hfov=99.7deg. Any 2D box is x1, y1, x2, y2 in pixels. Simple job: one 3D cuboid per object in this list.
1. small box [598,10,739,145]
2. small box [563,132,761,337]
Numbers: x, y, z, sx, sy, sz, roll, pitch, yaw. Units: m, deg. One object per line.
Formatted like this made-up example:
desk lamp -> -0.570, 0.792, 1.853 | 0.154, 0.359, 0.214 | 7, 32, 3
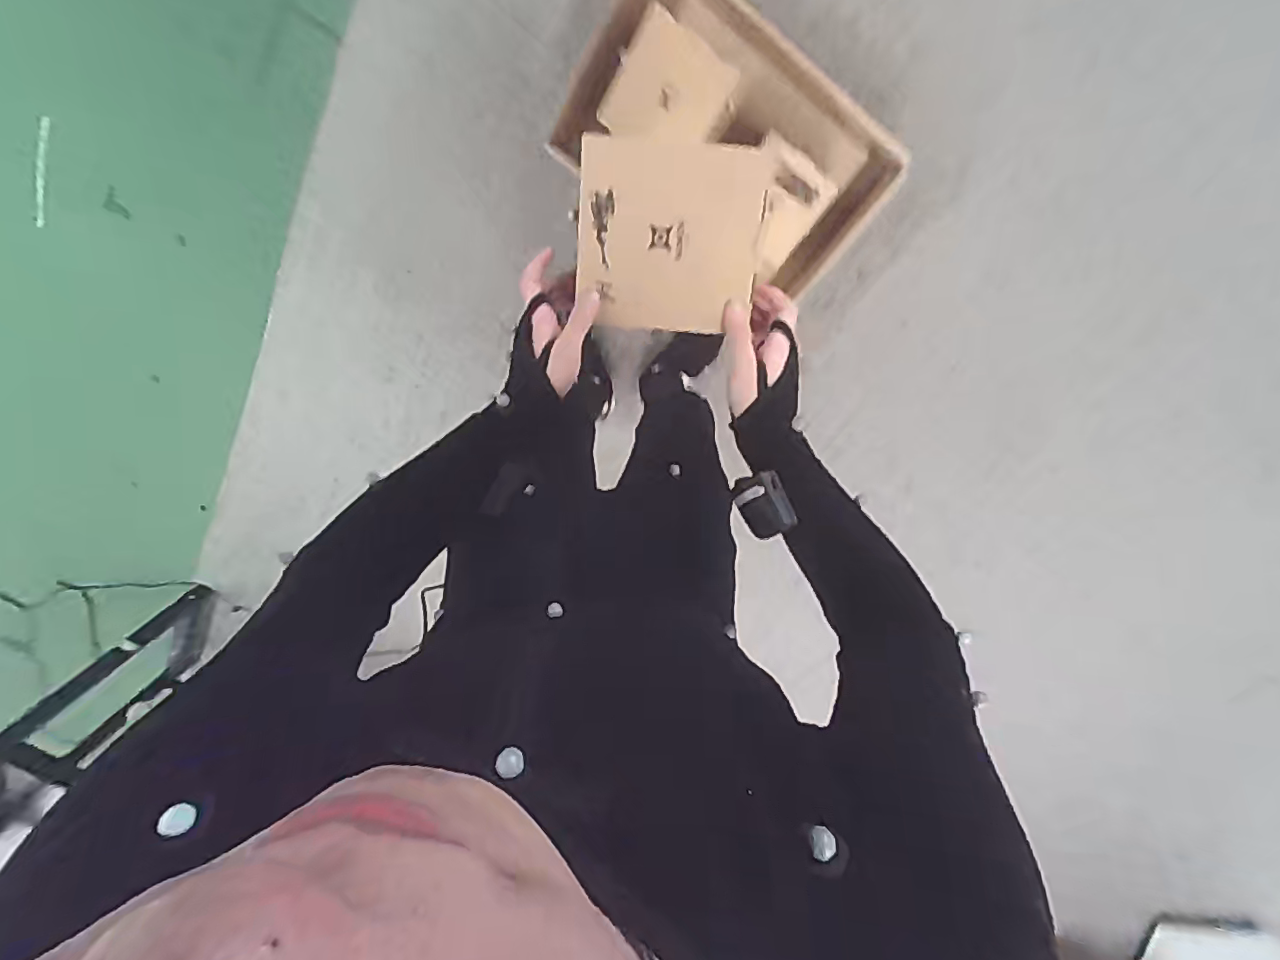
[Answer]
small box -> 0.054, -0.642, 0.933 | 0.168, 0.176, 0.179 | 33, 117, -10
small box -> 0.016, -0.248, 0.581 | 0.179, 0.176, 0.168 | 4, 106, -2
